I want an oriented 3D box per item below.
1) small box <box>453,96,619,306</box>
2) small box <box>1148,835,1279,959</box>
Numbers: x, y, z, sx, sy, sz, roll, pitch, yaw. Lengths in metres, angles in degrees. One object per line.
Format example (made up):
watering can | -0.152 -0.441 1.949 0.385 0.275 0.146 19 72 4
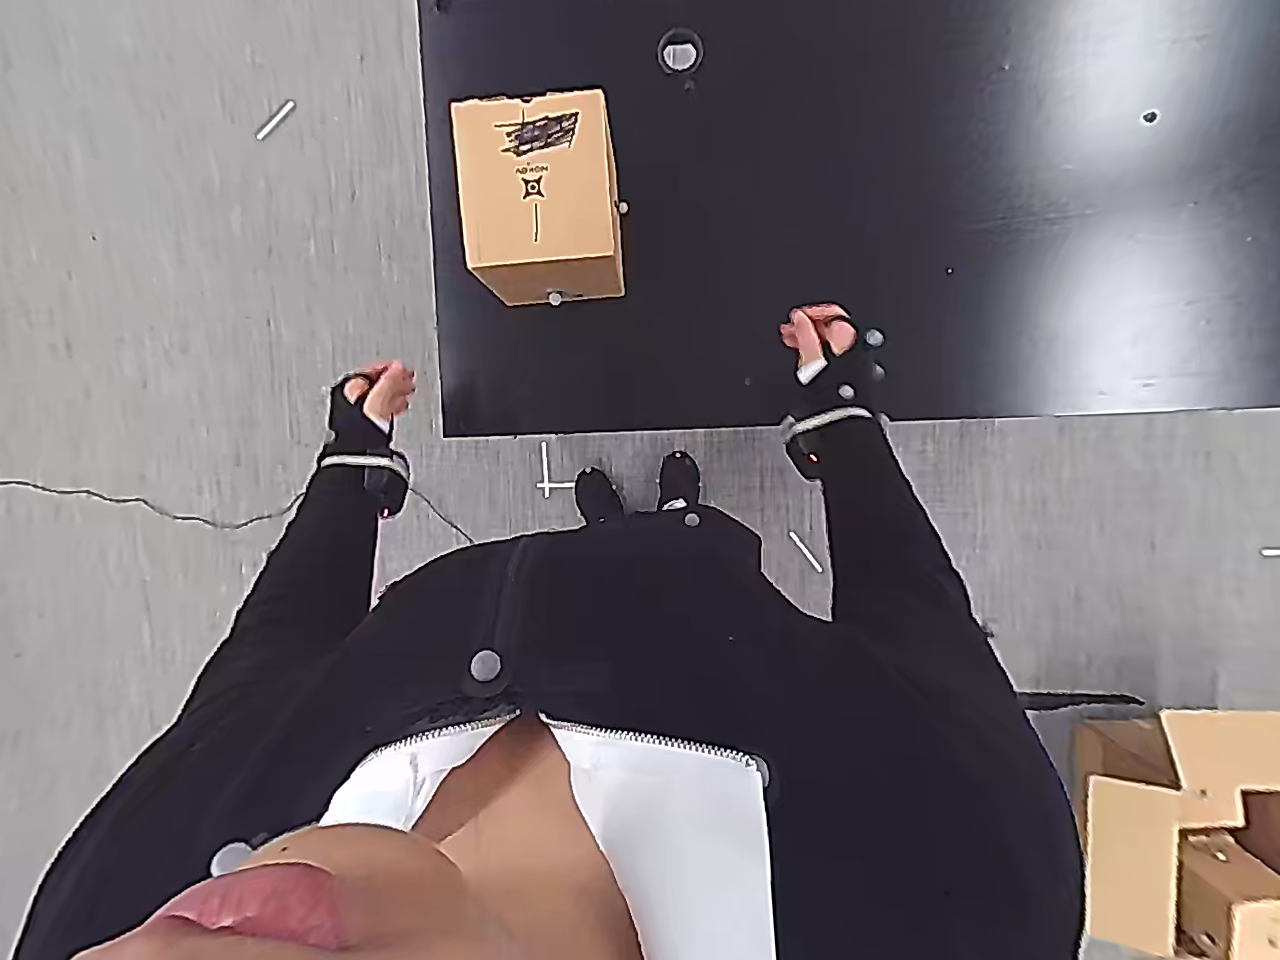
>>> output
small box | -0.116 -0.329 0.669 0.168 0.176 0.179 -4 94 2
small box | 1.330 0.963 1.249 0.168 0.176 0.179 -4 95 2
